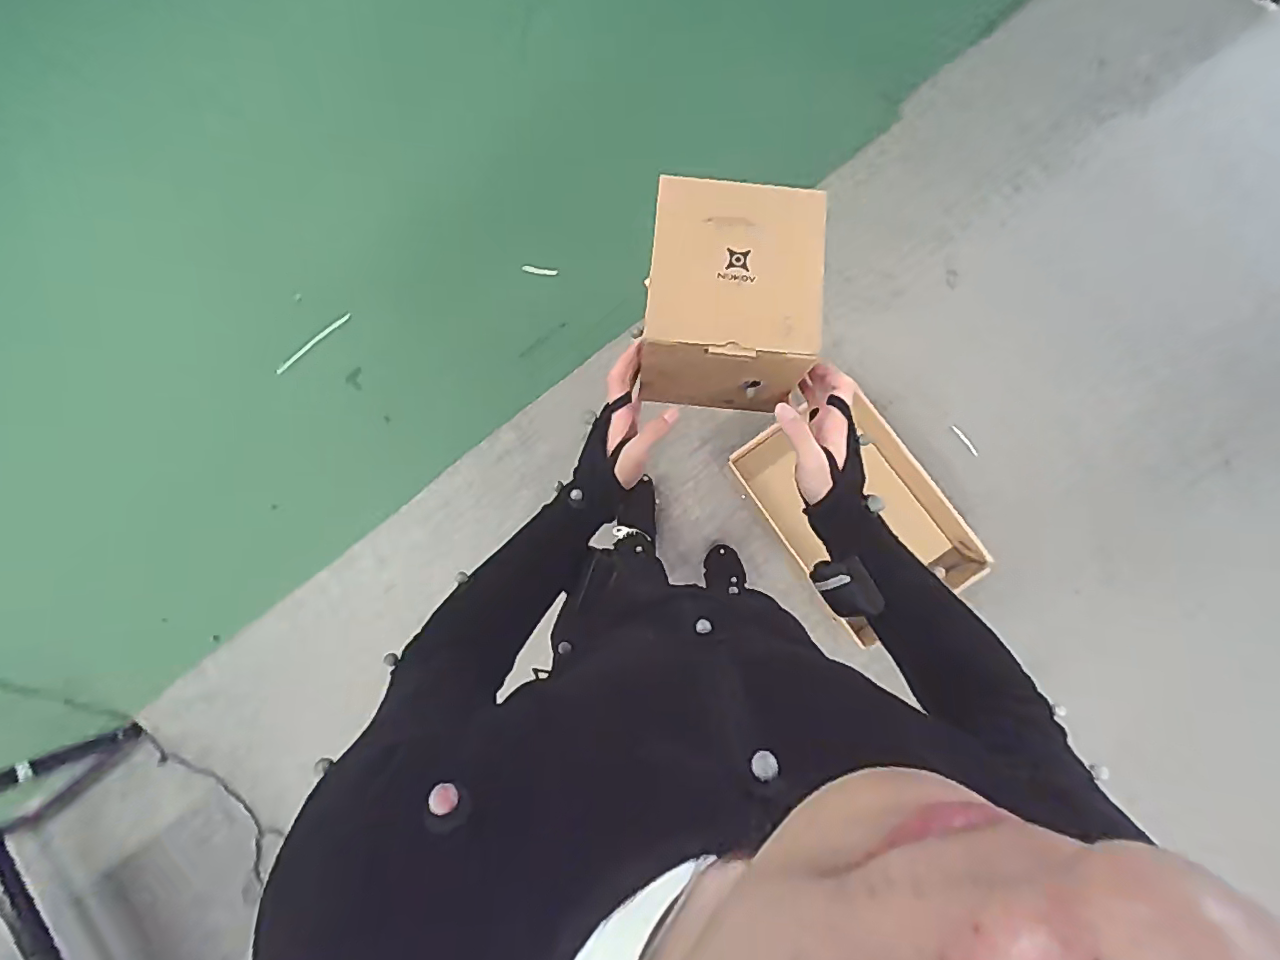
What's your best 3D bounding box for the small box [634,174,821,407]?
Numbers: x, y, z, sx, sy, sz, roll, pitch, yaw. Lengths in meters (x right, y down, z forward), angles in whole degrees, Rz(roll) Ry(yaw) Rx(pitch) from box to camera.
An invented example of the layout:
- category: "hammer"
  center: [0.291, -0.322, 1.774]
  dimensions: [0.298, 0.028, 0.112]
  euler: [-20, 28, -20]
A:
- category: "small box"
  center: [0.084, -0.189, 0.586]
  dimensions: [0.168, 0.176, 0.179]
  euler: [6, 79, 0]
